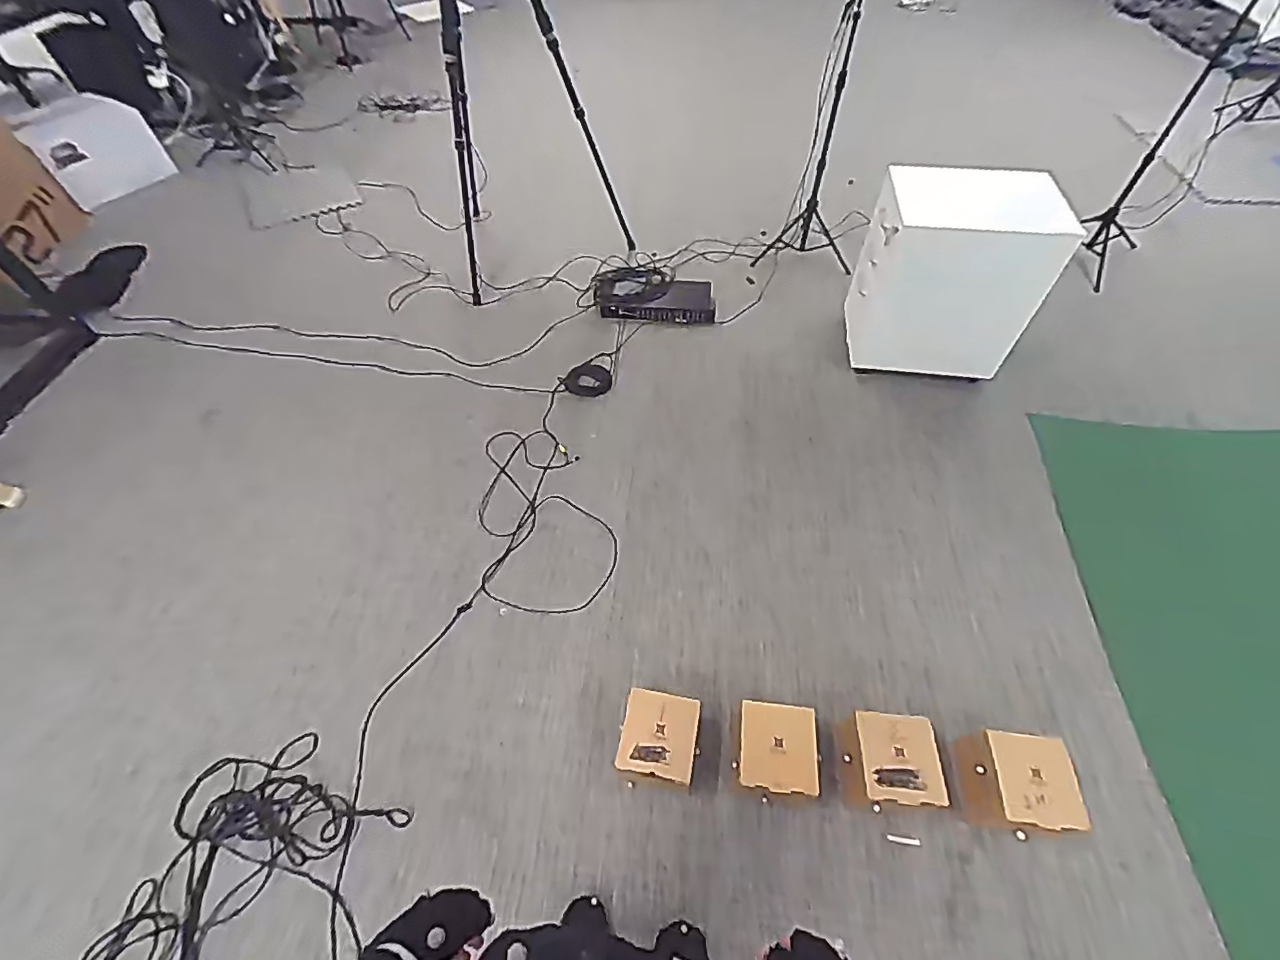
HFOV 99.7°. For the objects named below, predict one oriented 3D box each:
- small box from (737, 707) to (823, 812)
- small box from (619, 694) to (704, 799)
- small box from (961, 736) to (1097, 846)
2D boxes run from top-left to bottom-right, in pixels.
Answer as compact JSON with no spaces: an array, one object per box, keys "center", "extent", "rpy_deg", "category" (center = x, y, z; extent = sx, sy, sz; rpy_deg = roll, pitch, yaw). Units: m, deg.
[{"center":[0.315,0.646,1.246],"extent":[0.168,0.176,0.179],"rpy_deg":[5,53,6],"category":"small box"},{"center":[0.055,0.629,1.268],"extent":[0.168,0.176,0.179],"rpy_deg":[8,53,9],"category":"small box"},{"center":[0.841,0.688,1.194],"extent":[0.168,0.176,0.179],"rpy_deg":[5,54,6],"category":"small box"}]
